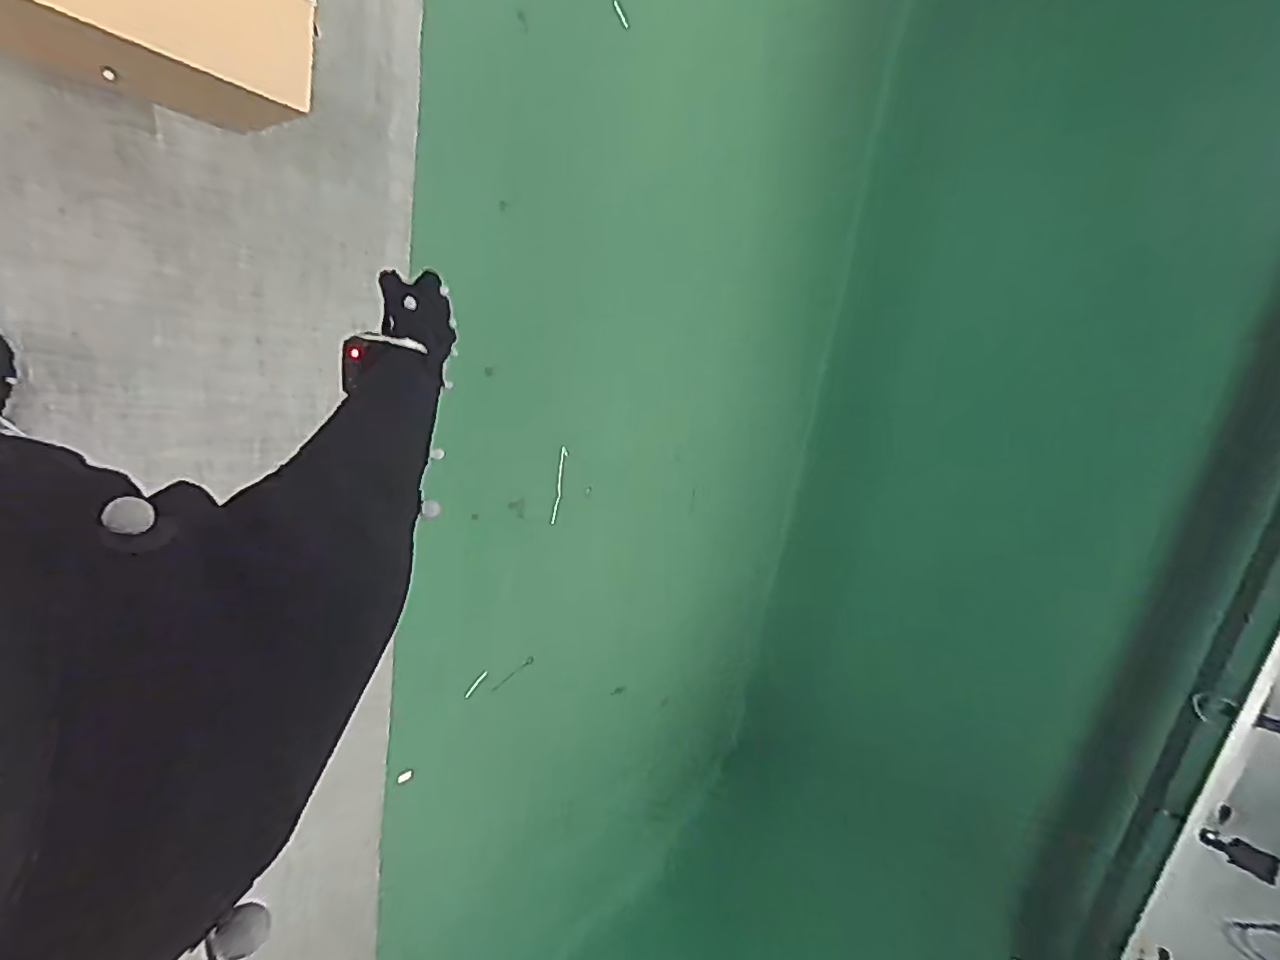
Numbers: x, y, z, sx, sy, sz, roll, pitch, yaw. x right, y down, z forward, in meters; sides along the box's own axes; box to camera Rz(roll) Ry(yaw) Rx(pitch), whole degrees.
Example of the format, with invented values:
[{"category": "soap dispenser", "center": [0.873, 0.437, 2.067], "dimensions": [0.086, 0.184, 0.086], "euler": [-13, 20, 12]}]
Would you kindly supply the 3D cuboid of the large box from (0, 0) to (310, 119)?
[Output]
[{"category": "large box", "center": [-0.721, -0.749, 0.730], "dimensions": [0.408, 0.320, 0.320], "euler": [-7, 111, -51]}]
